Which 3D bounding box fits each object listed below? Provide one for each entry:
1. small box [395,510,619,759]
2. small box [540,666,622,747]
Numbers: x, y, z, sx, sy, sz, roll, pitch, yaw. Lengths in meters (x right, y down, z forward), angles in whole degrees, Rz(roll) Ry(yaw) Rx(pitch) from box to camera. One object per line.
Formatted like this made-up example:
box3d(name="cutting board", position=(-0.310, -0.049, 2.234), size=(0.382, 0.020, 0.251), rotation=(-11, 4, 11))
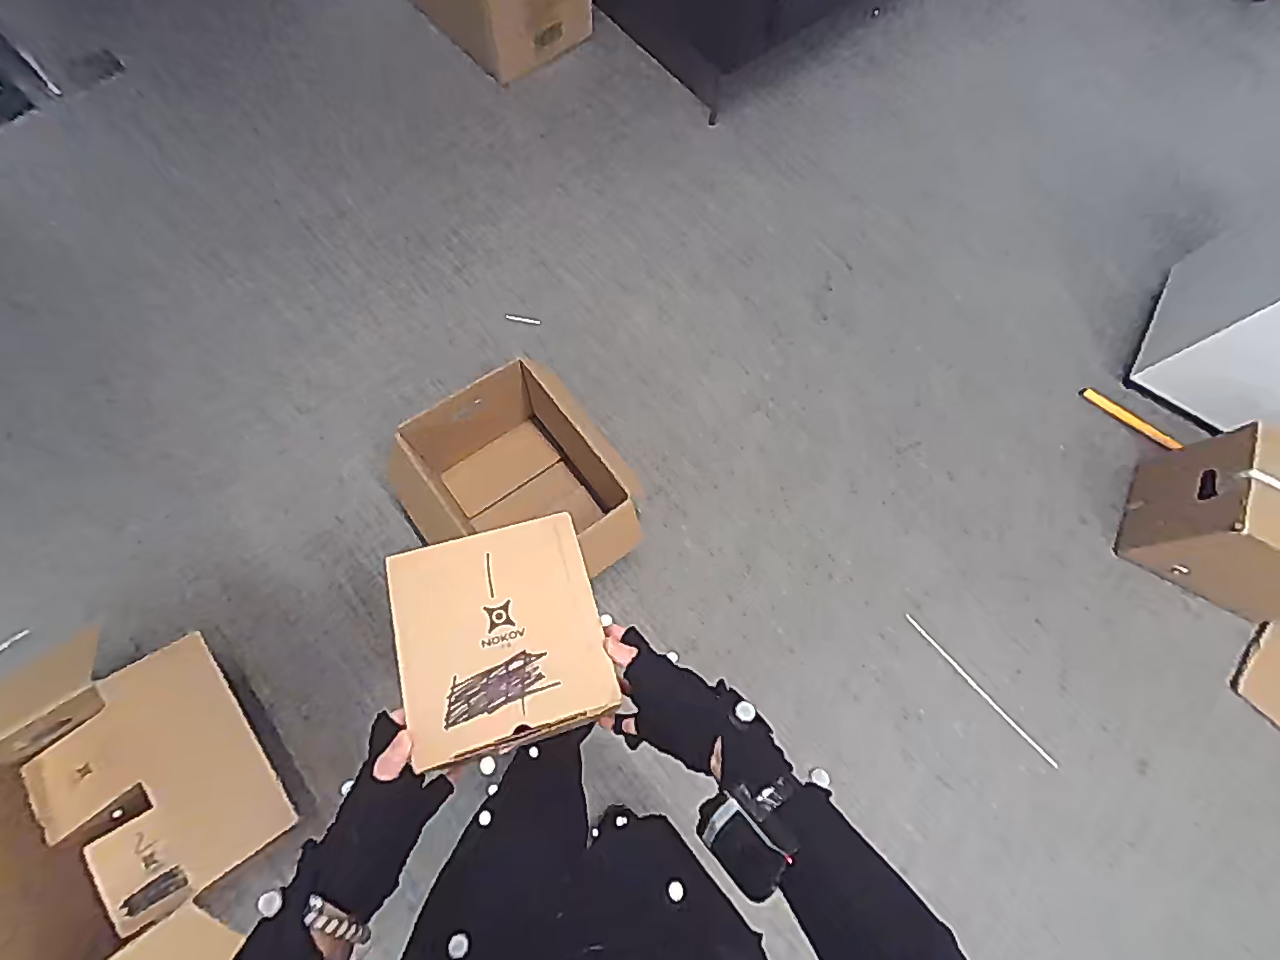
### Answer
box3d(name="small box", position=(-0.122, 0.156, 0.533), size=(0.168, 0.176, 0.179), rotation=(-14, 65, -12))
box3d(name="small box", position=(-0.170, 0.472, 1.226), size=(0.179, 0.176, 0.168), rotation=(26, 84, 21))
